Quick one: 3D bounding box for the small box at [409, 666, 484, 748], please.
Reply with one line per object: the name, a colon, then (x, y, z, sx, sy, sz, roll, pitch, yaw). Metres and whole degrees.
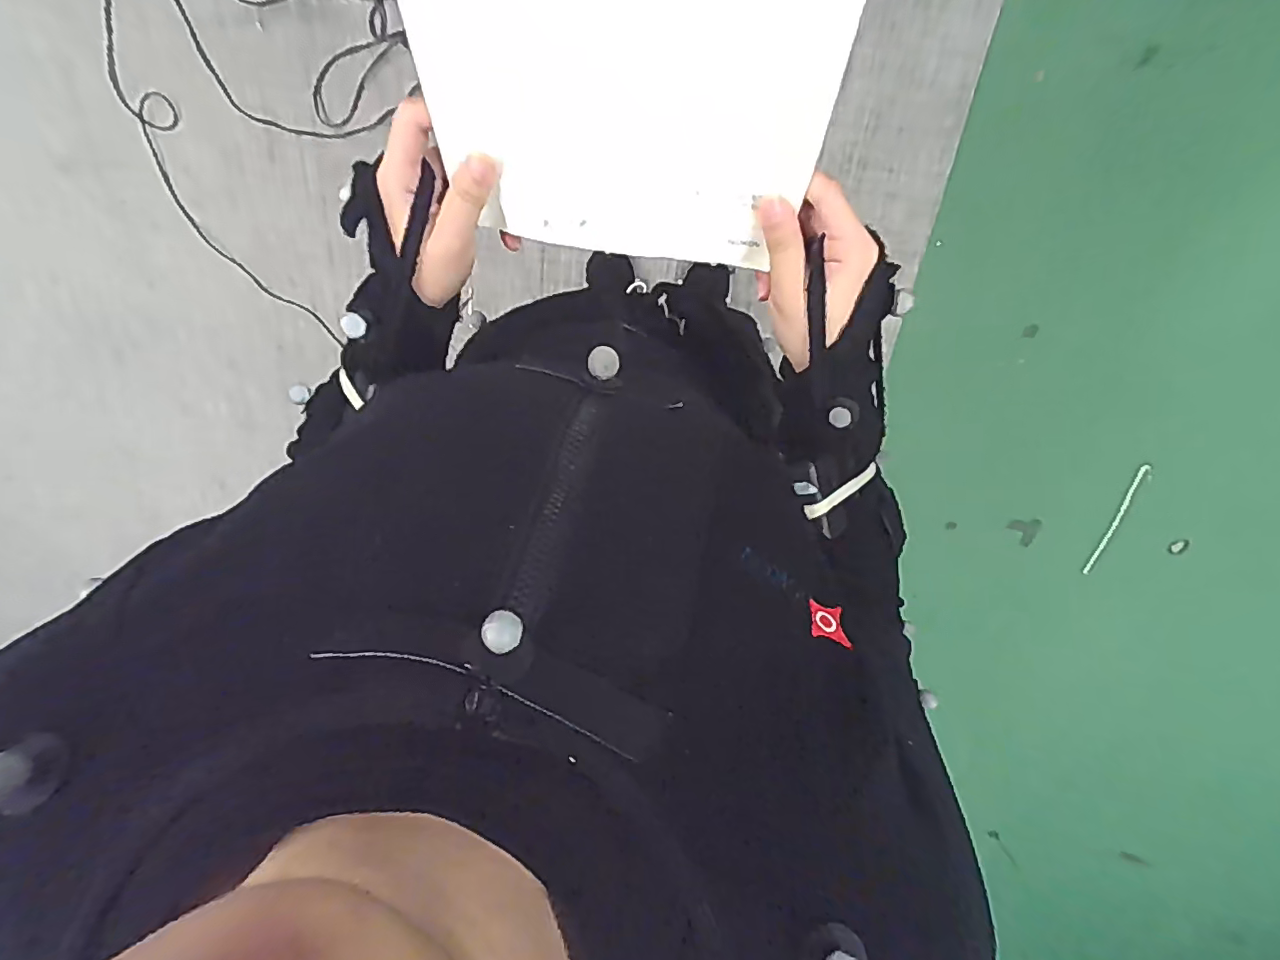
small box: (-0.604, 0.715, 1.715, 0.179, 0.176, 0.168, 6, 115, 4)
